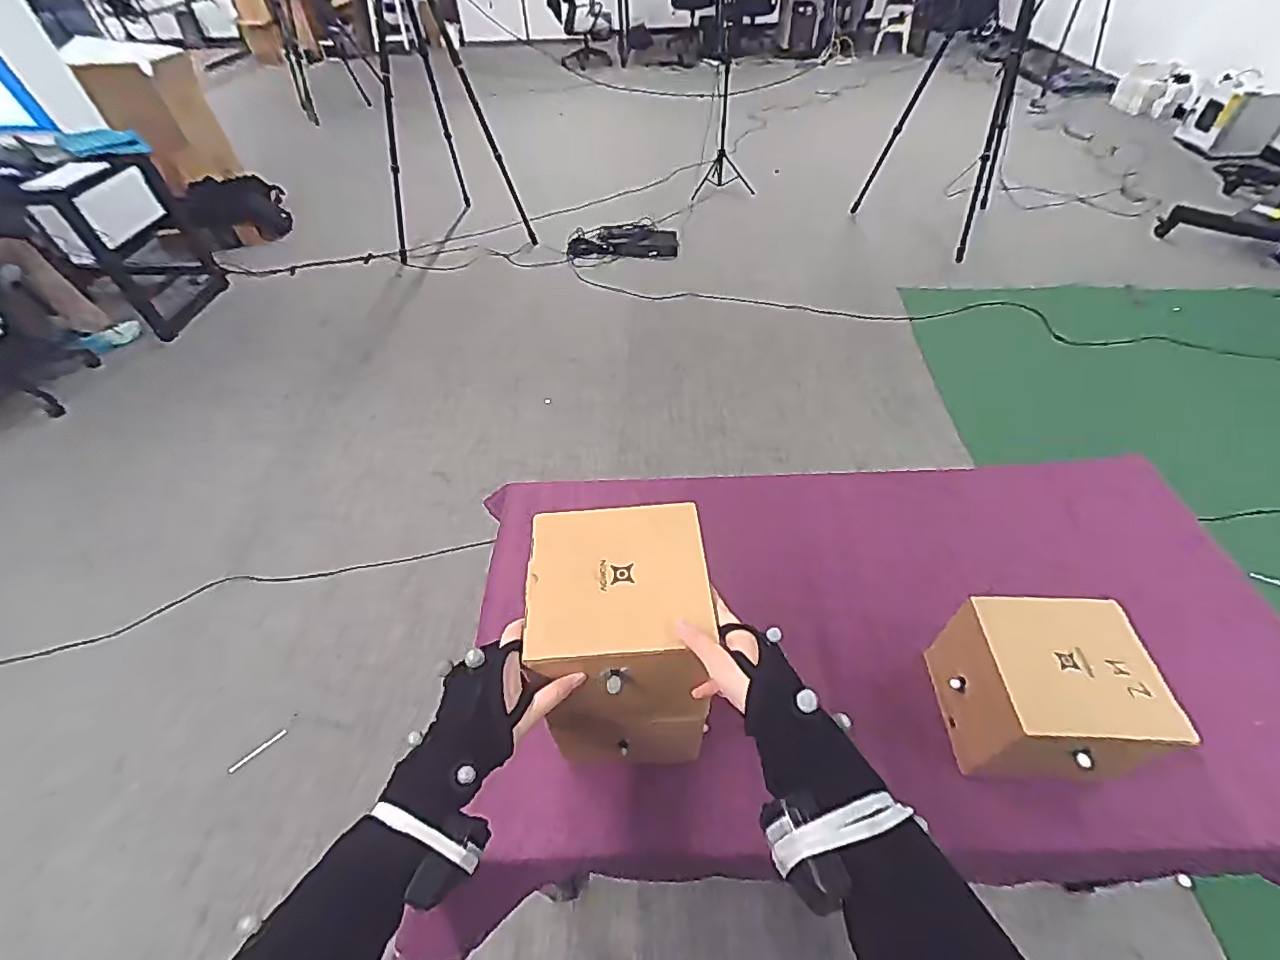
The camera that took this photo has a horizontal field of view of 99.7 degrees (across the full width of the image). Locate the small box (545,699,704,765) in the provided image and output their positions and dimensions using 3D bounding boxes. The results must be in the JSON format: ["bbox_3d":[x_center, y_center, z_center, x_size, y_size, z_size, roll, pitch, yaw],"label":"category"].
[{"bbox_3d":[-0.016,0.254,0.697,0.179,0.176,0.168,-4,47,1],"label":"small box"}]

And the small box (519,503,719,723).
[{"bbox_3d":[-0.018,0.144,0.577,0.179,0.176,0.168,-5,47,0],"label":"small box"}]

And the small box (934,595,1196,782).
[{"bbox_3d":[0.489,0.259,0.666,0.179,0.176,0.168,1,49,4],"label":"small box"}]
